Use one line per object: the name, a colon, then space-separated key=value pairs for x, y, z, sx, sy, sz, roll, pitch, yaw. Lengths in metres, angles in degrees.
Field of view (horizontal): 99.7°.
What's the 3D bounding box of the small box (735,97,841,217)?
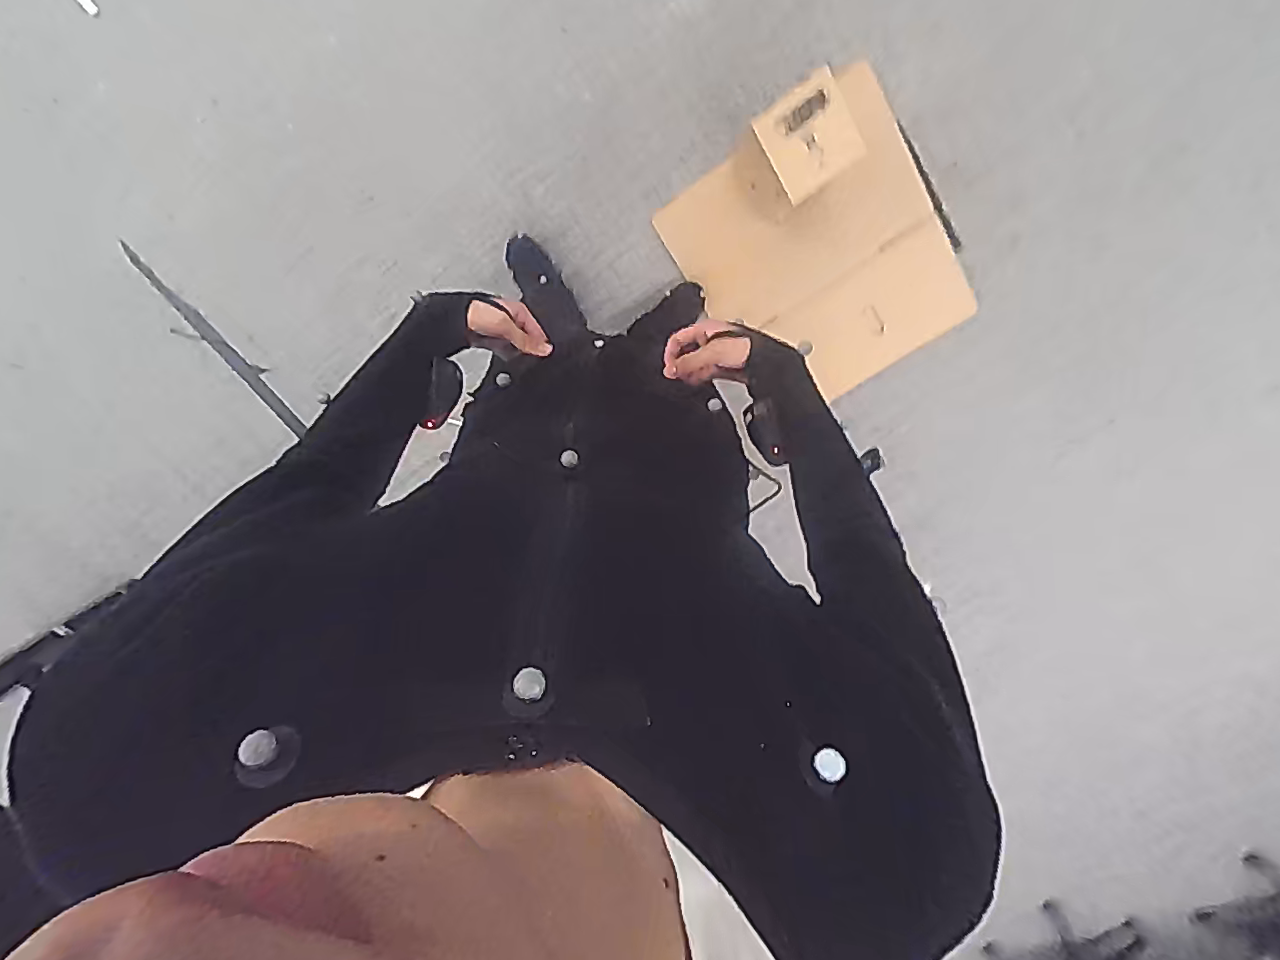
small box: x=0.341 y=-0.747 z=1.275 sx=0.168 sy=0.176 sz=0.179 roll=-32 pitch=107 yaw=14
